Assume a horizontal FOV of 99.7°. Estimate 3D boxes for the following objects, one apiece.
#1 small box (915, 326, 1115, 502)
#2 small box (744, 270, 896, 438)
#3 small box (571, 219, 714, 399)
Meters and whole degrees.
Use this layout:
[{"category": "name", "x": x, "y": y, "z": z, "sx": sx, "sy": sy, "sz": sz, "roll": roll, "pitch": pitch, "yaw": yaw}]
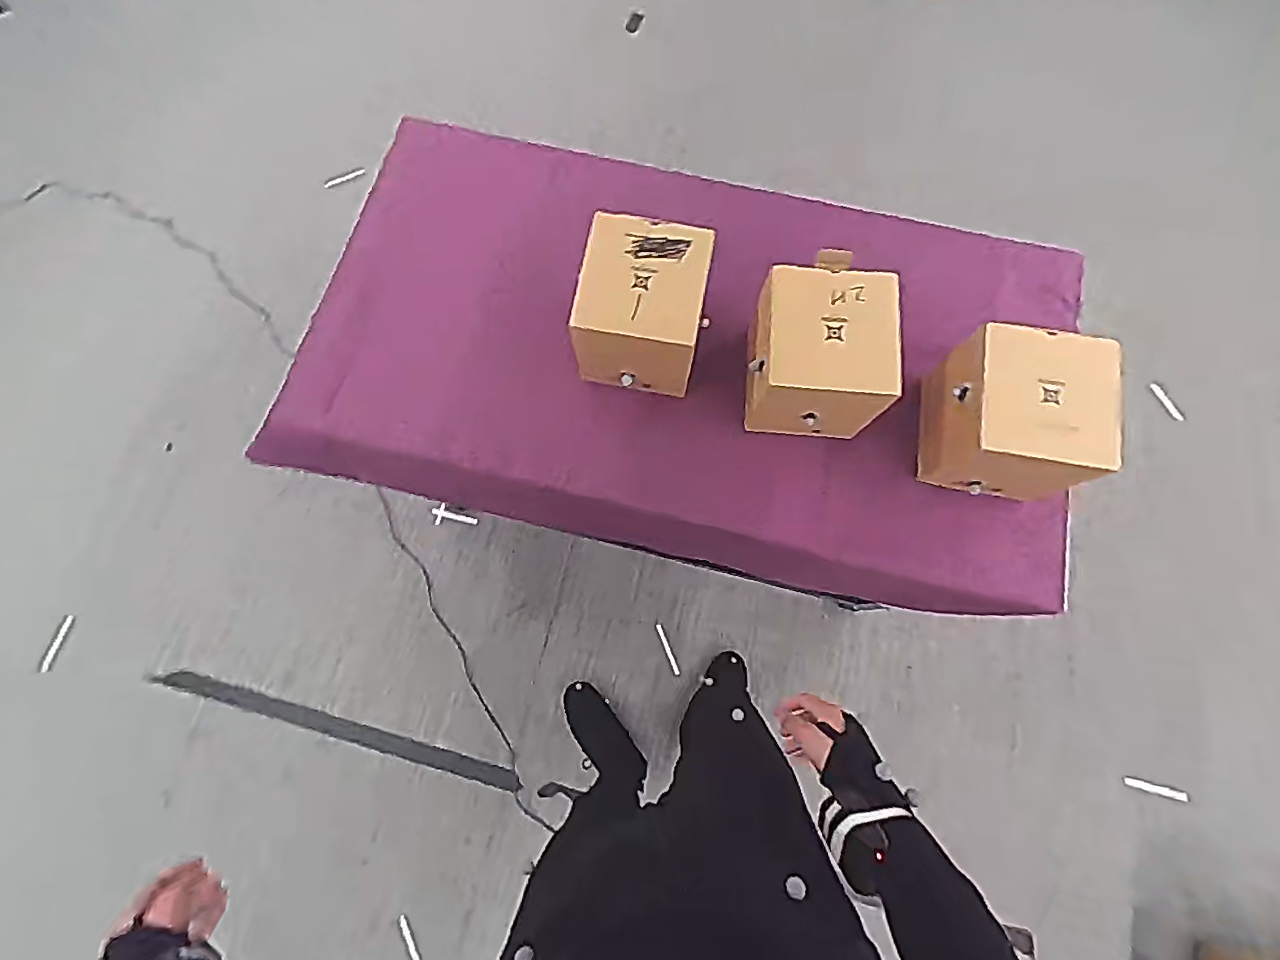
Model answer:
[{"category": "small box", "x": 0.505, "y": -0.083, "z": 0.751, "sx": 0.168, "sy": 0.176, "sz": 0.179, "roll": 10, "pitch": 75, "yaw": 4}, {"category": "small box", "x": 0.247, "y": -0.170, "z": 0.773, "sx": 0.168, "sy": 0.176, "sz": 0.179, "roll": 5, "pitch": 75, "yaw": 1}, {"category": "small box", "x": 0.004, "y": -0.241, "z": 0.792, "sx": 0.168, "sy": 0.176, "sz": 0.179, "roll": 10, "pitch": 76, "yaw": 3}]
